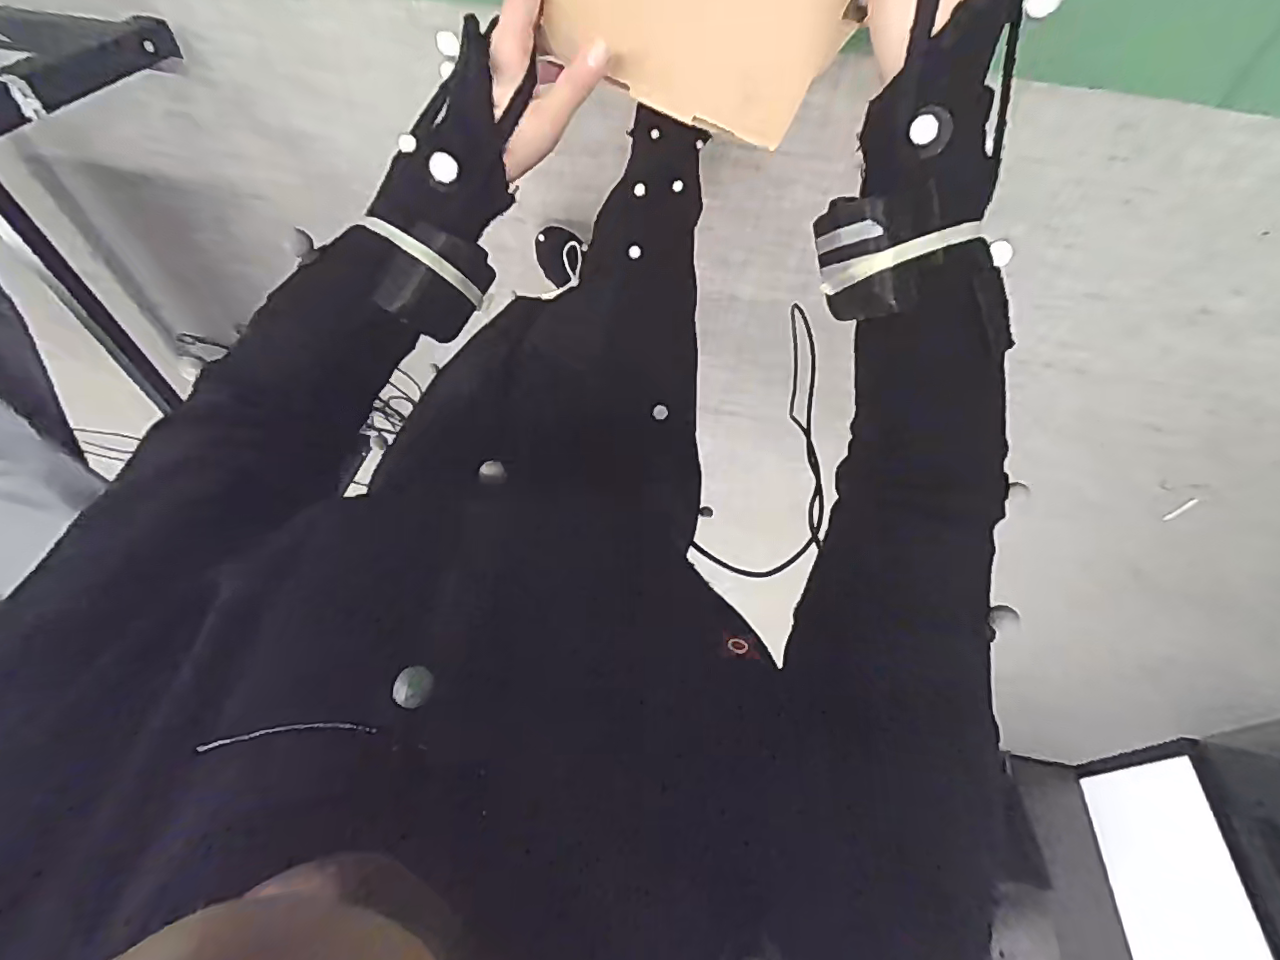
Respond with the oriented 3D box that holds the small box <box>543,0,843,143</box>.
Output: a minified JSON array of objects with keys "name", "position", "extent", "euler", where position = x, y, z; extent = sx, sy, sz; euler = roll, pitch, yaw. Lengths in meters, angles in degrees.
[{"name":"small box","position":[0.056,-0.351,0.315],"extent":[0.168,0.176,0.179],"euler":[20,147,-5]}]
